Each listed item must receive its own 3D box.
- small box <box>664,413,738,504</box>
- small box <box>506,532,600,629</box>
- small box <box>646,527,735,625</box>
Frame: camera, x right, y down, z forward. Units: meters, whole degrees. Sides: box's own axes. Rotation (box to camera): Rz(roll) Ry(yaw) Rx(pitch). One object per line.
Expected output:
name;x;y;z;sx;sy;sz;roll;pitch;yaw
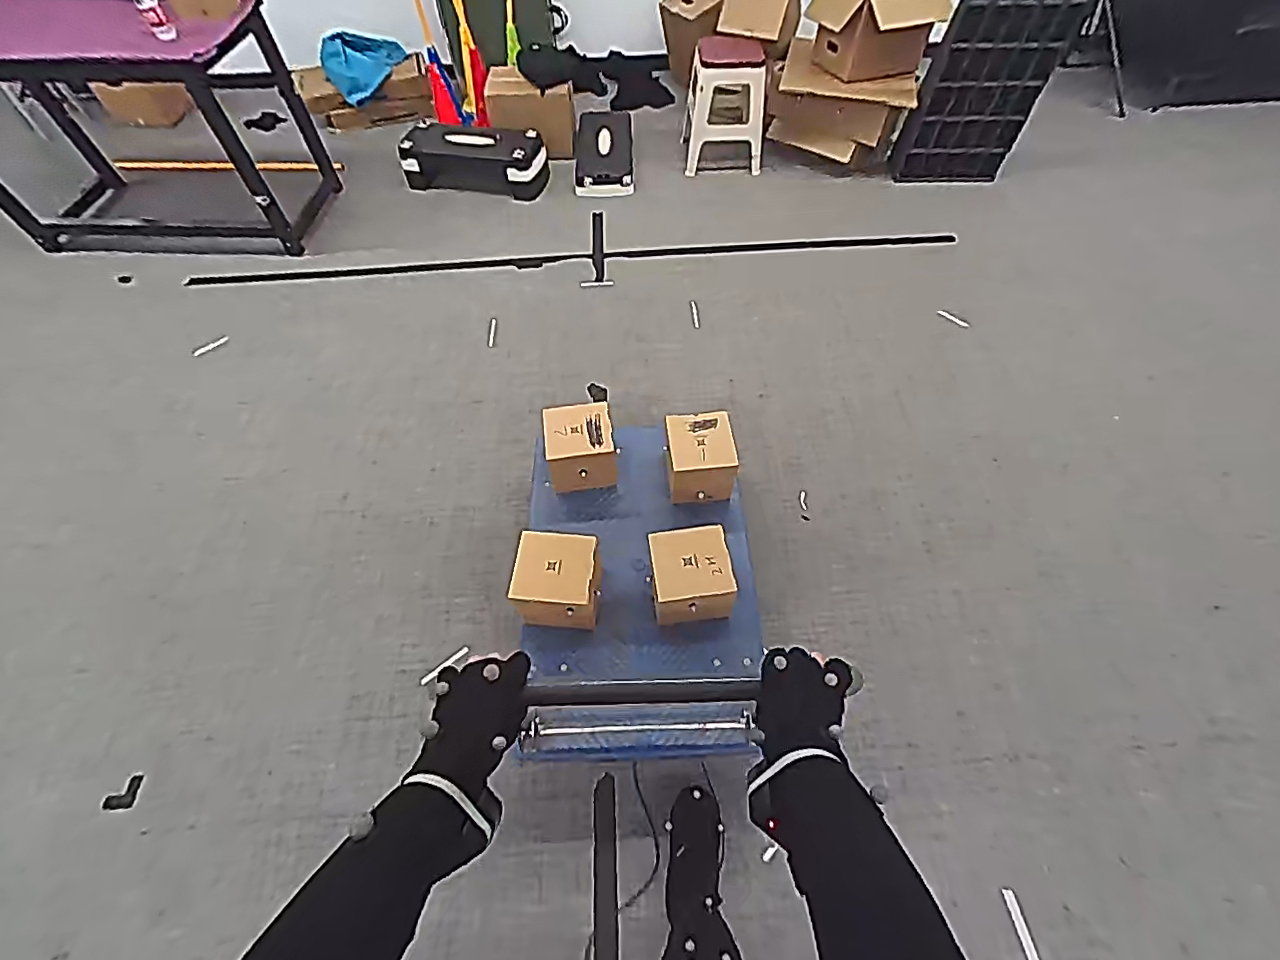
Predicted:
small box;0.155;-0.055;1.437;0.168;0.176;0.179;-5;59;-2
small box;-0.193;0.237;1.257;0.179;0.176;0.168;5;57;2
small box;0.112;0.228;1.258;0.179;0.176;0.168;-7;58;-3
